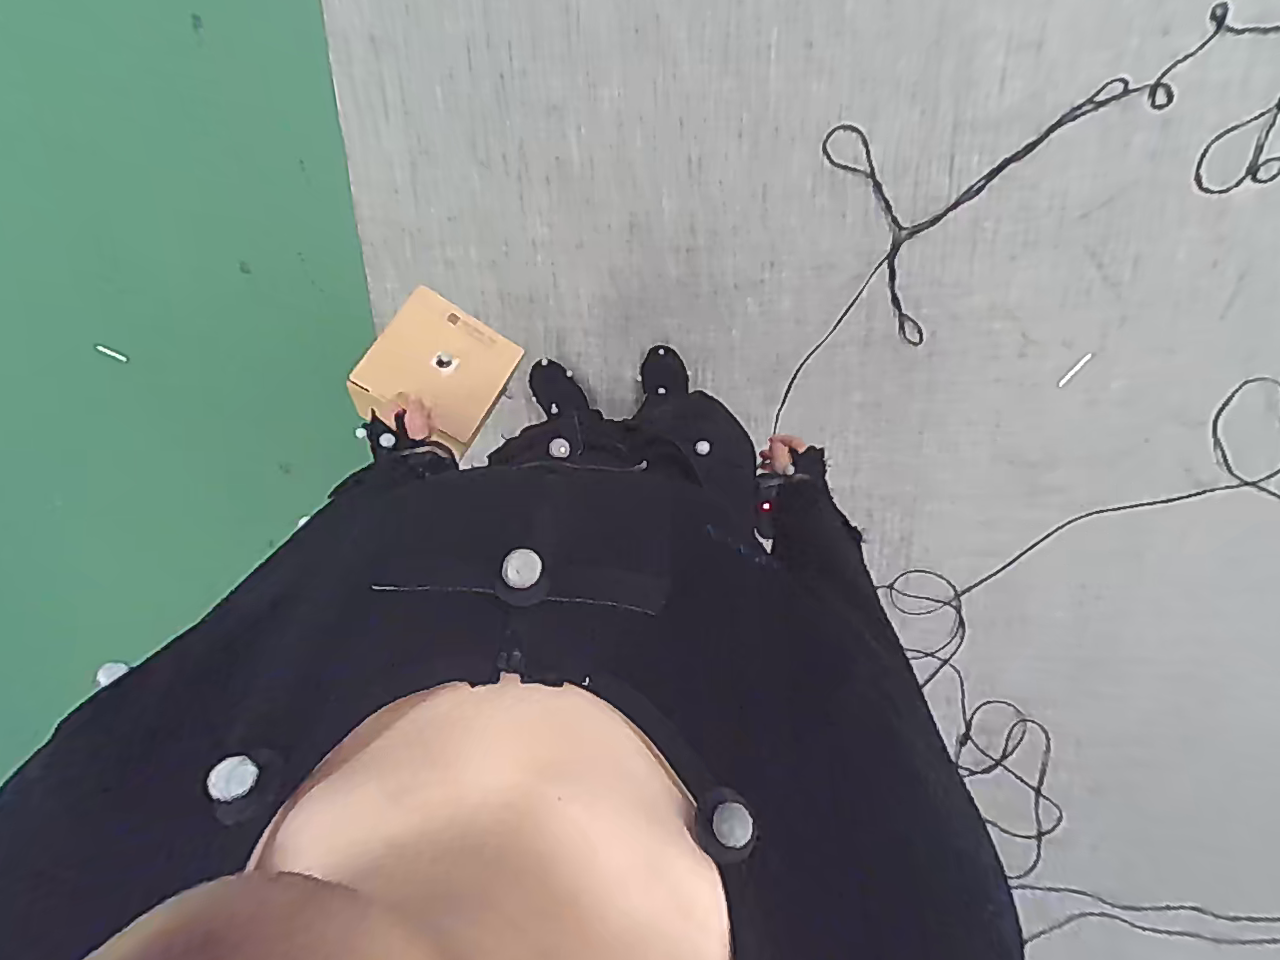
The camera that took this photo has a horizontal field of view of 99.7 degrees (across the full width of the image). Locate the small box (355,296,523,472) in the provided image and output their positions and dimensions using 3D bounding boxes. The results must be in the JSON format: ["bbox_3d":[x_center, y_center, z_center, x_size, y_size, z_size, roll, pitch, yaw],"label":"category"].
[{"bbox_3d":[-0.294,-0.137,0.805,0.168,0.179,0.176,32,69,-15],"label":"small box"}]
